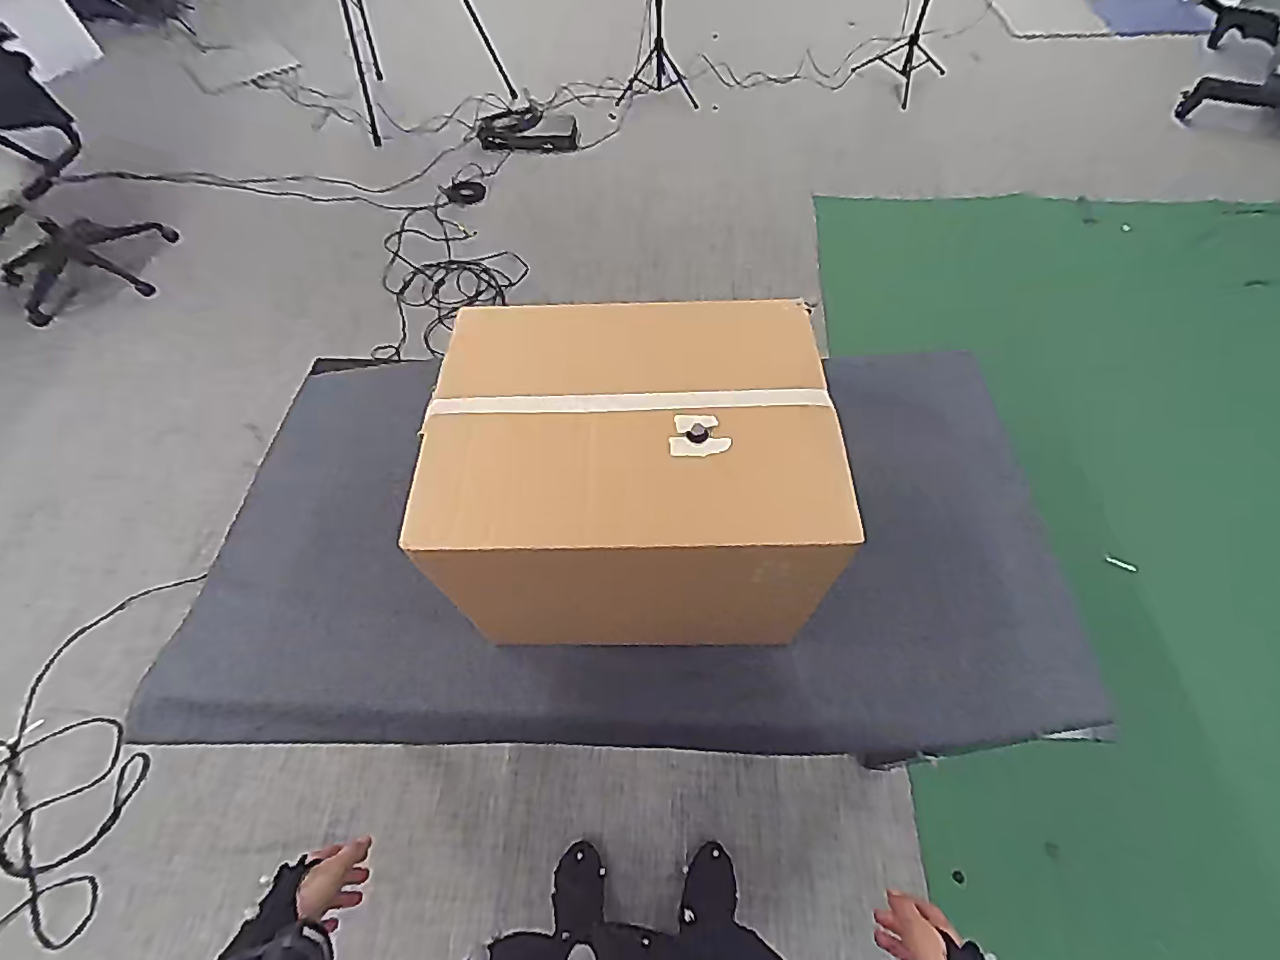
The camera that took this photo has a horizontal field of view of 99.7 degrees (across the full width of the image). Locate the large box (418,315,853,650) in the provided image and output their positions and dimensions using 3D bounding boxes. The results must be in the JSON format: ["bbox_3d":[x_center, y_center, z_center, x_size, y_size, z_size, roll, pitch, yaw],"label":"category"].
[{"bbox_3d":[-0.005,0.017,0.690,0.408,0.320,0.320,-1,58,1],"label":"large box"}]
